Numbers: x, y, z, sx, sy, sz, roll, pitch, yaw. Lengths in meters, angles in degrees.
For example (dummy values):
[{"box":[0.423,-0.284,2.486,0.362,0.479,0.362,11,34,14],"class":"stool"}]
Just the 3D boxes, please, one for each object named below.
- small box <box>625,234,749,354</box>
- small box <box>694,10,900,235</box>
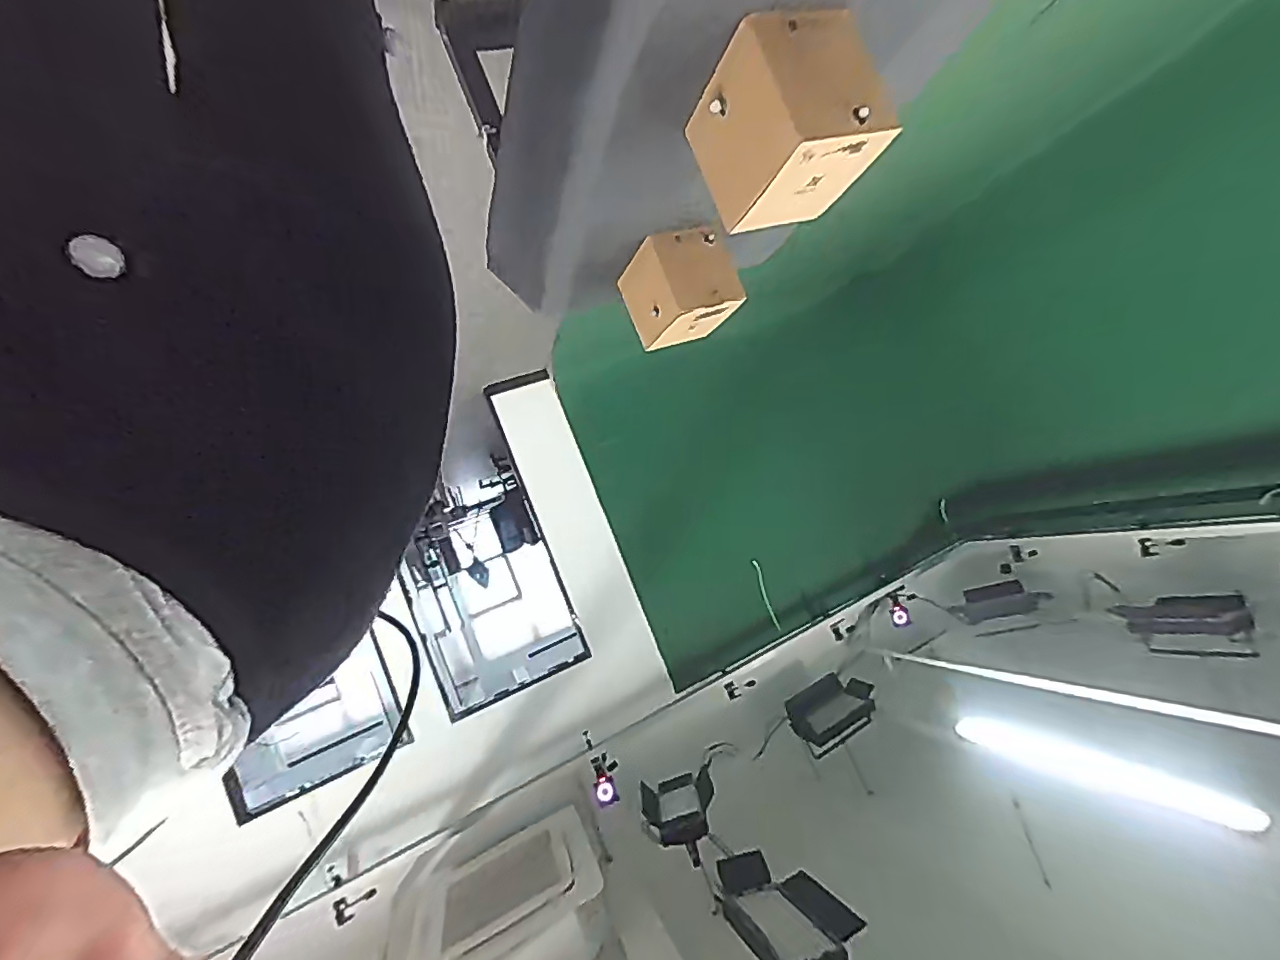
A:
[{"box":[0.088,-0.389,1.122,0.168,0.176,0.179,-21,177,-25],"class":"small box"},{"box":[0.191,-0.459,0.708,0.168,0.176,0.179,-22,178,-21],"class":"small box"}]
